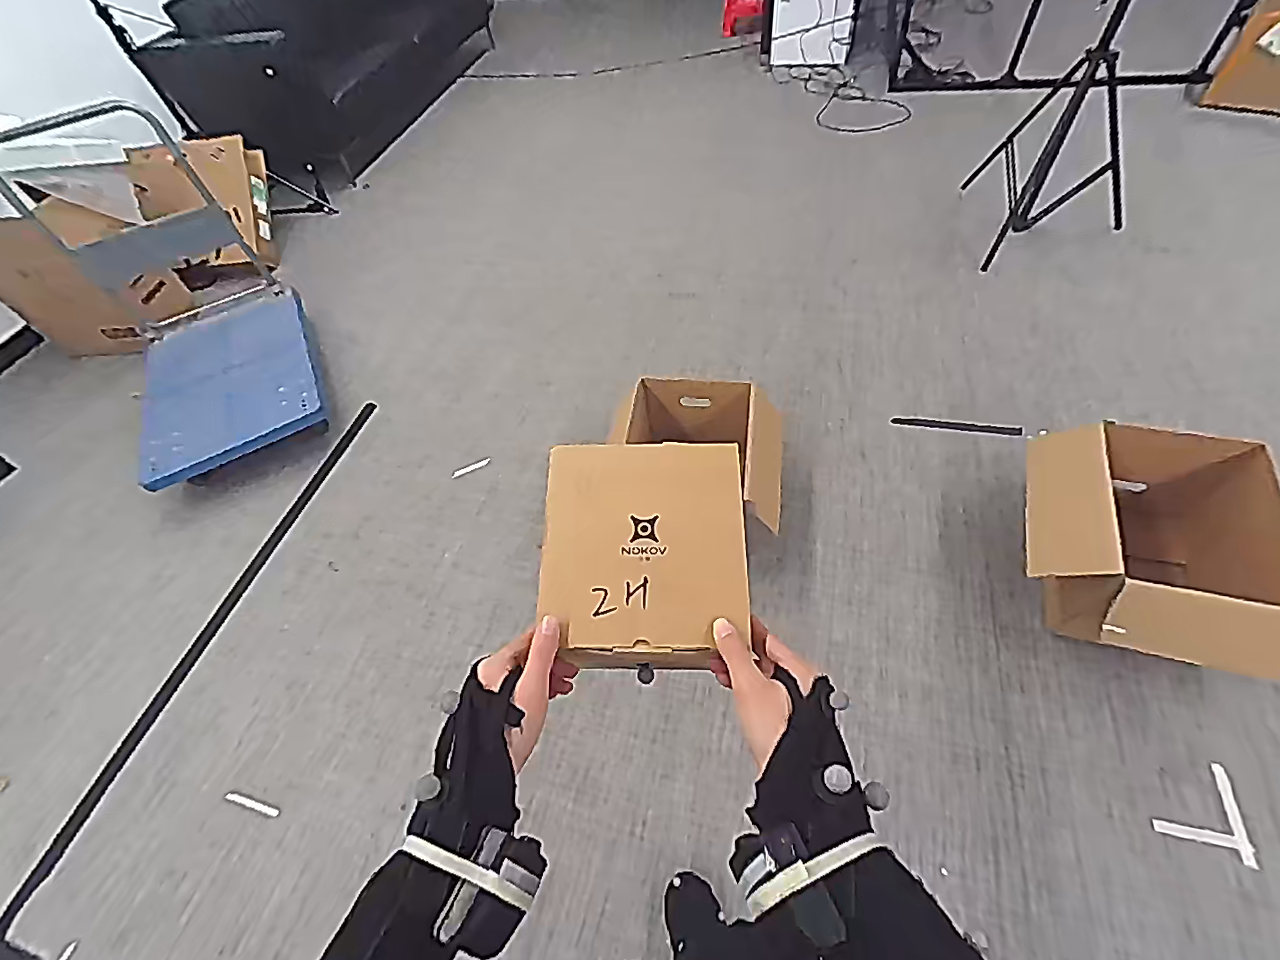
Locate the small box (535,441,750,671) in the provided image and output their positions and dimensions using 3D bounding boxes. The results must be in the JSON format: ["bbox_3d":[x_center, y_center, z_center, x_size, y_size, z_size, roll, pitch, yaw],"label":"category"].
[{"bbox_3d":[0.006,0.079,0.512,0.168,0.176,0.179,-1,65,3],"label":"small box"}]
